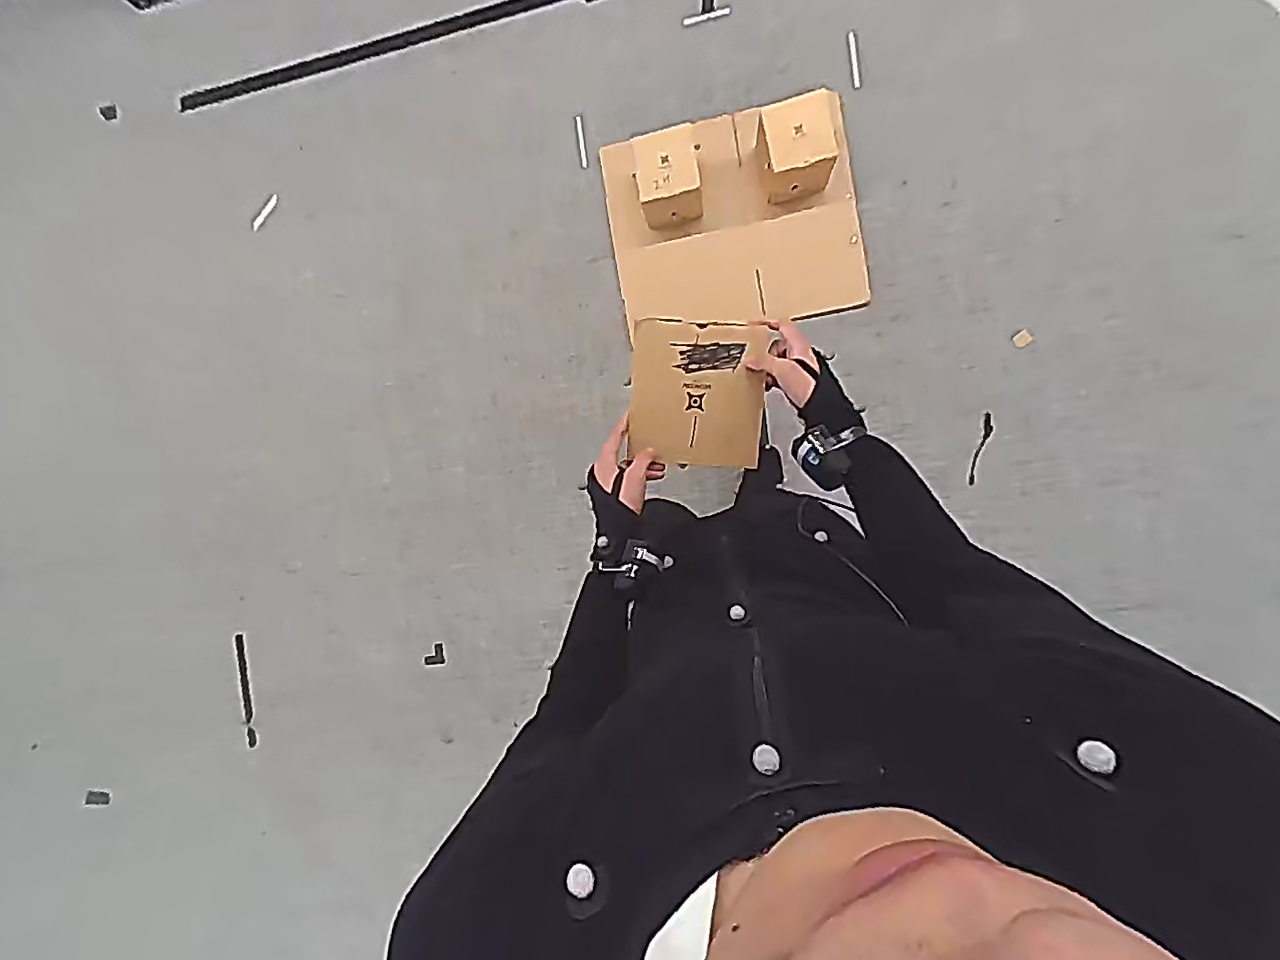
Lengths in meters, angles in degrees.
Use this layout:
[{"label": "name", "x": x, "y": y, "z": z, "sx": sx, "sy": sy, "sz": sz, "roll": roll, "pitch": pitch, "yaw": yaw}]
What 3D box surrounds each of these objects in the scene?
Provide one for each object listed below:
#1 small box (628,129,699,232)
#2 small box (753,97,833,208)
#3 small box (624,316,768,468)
[{"label": "small box", "x": 0.070, "y": -0.827, "z": 1.510, "sx": 0.168, "sy": 0.176, "sz": 0.179, "roll": -10, "pitch": 91, "yaw": 9}, {"label": "small box", "x": 0.407, "y": -0.880, "z": 1.468, "sx": 0.168, "sy": 0.176, "sz": 0.179, "roll": -13, "pitch": 91, "yaw": 9}, {"label": "small box", "x": 0.069, "y": -0.116, "z": 0.738, "sx": 0.168, "sy": 0.176, "sz": 0.179, "roll": 4, "pitch": 98, "yaw": 2}]
